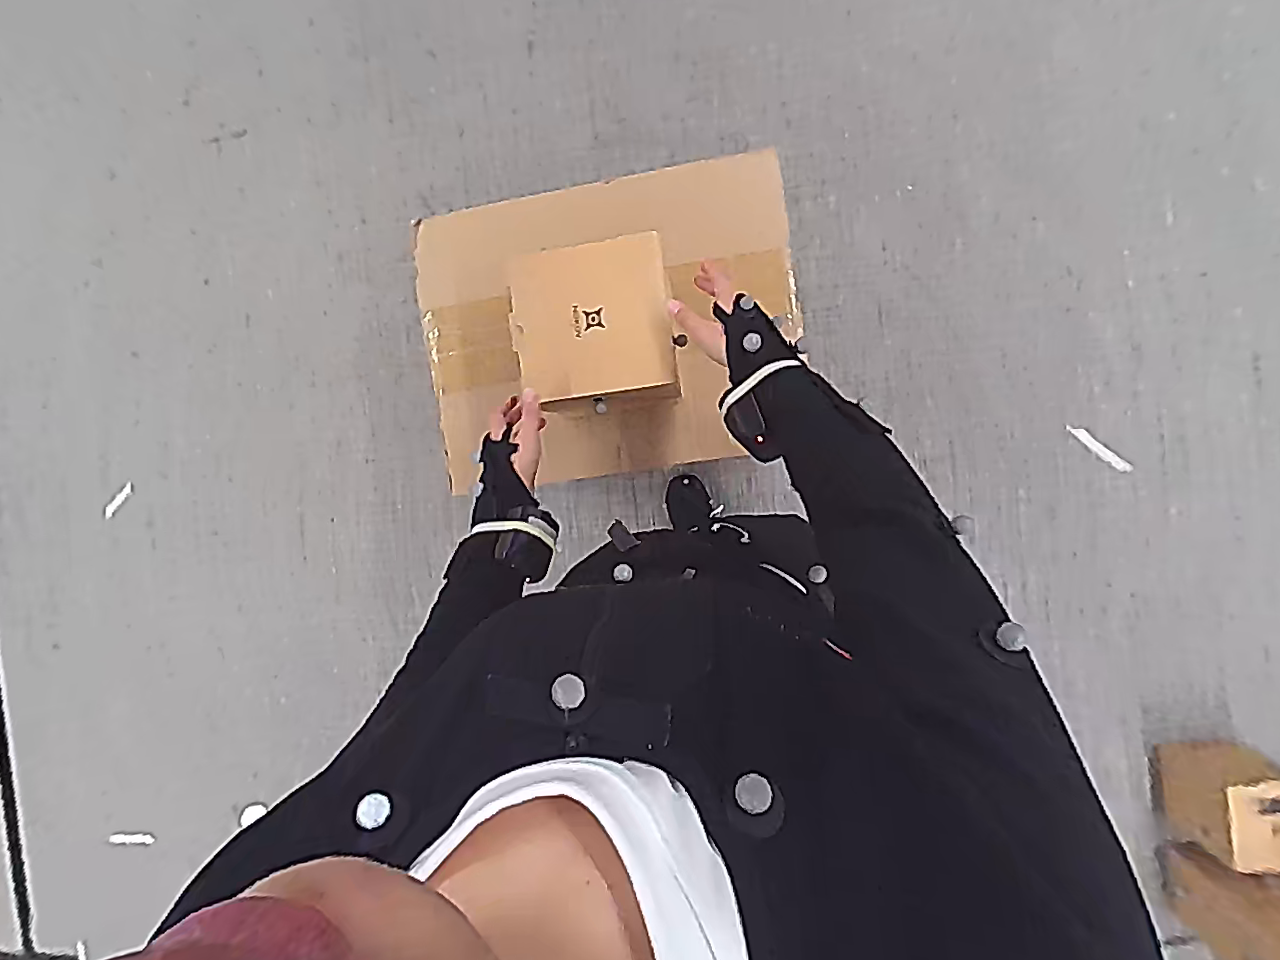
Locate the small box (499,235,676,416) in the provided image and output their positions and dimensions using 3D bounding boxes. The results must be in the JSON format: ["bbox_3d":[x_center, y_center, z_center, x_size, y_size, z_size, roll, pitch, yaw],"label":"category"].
[{"bbox_3d":[-0.051,-0.175,0.666,0.179,0.176,0.168,-7,91,8],"label":"small box"}]

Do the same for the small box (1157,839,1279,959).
[{"bbox_3d":[1.273,0.902,1.156,0.179,0.176,0.168,-6,91,8],"label":"small box"}]
